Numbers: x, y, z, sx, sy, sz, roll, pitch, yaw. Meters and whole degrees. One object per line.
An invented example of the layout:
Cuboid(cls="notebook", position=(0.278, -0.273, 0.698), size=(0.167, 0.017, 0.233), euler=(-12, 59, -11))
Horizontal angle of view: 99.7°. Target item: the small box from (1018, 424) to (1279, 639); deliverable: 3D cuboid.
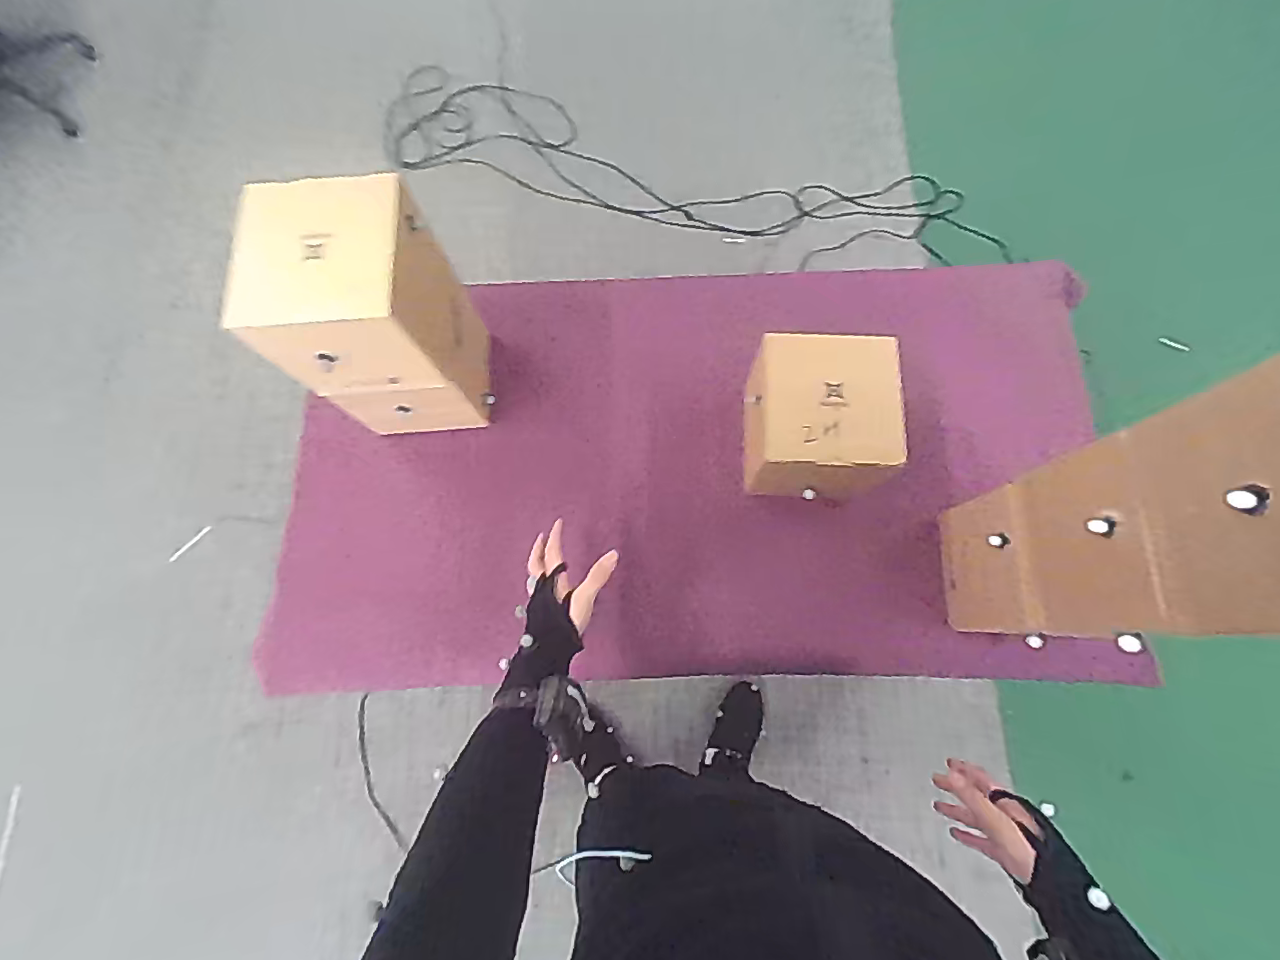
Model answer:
Cuboid(cls="small box", position=(0.508, 0.060, 0.530), size=(0.168, 0.176, 0.179), euler=(2, 74, 4))

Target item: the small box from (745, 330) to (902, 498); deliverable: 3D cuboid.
Cuboid(cls="small box", position=(0.241, -0.084, 0.747), size=(0.168, 0.176, 0.179), euler=(3, 75, 3))

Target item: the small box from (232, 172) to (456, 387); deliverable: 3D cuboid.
Cuboid(cls="small box", position=(-0.324, -0.217, 0.630), size=(0.168, 0.176, 0.179), euler=(-4, 74, 1))

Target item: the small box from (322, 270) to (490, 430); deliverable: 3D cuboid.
Cuboid(cls="small box", position=(-0.325, -0.180, 0.788), size=(0.179, 0.176, 0.168), euler=(-5, 75, 1))

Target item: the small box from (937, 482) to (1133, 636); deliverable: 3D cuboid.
Cuboid(cls="small box", position=(0.512, 0.107, 0.687), size=(0.179, 0.176, 0.168), euler=(3, 74, 3))
